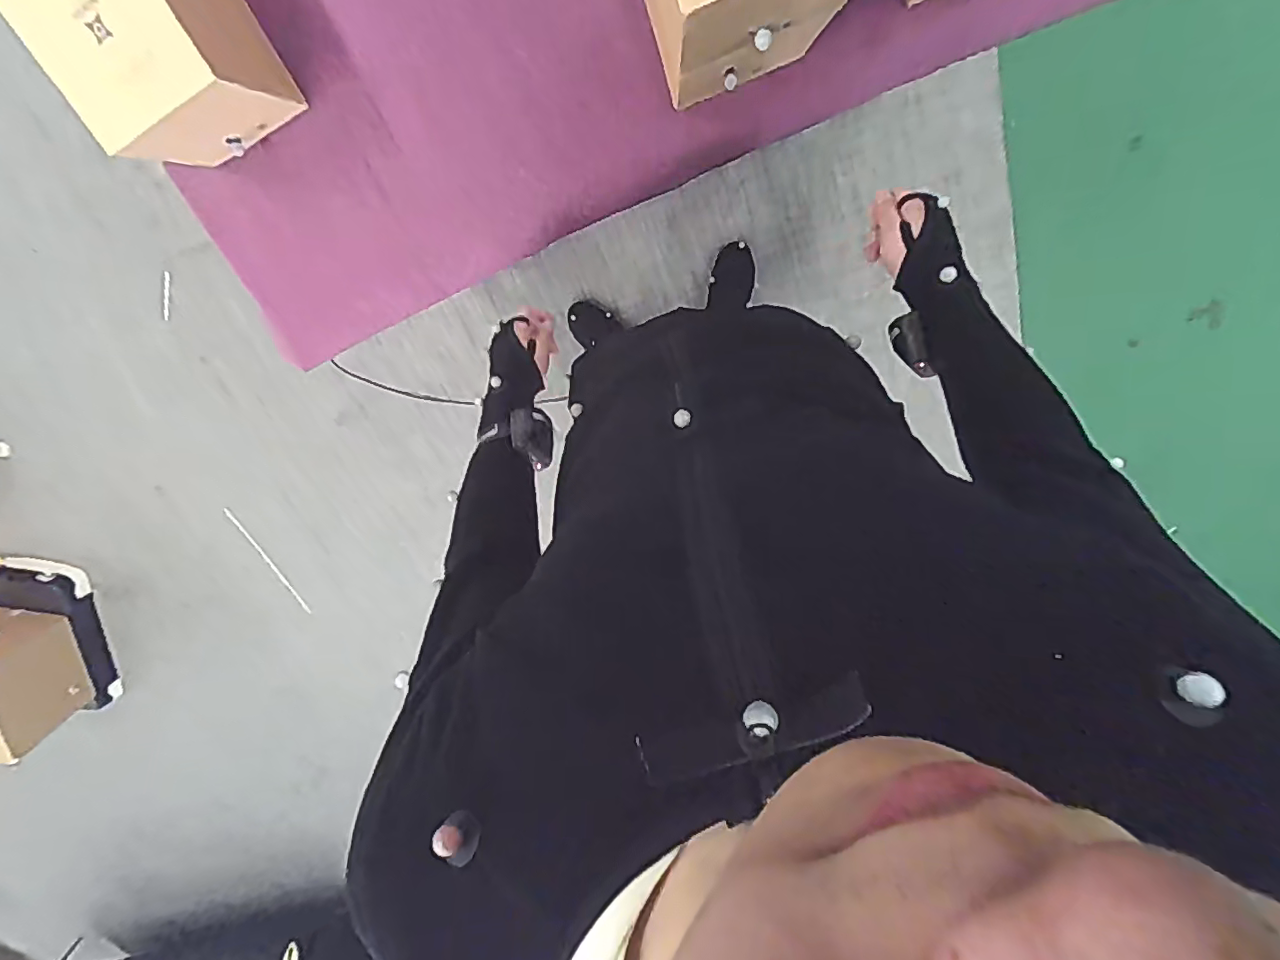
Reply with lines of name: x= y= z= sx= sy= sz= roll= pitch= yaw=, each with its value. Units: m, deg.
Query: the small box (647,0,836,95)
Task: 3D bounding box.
small box: x=0.089 y=-0.535 z=0.563 sx=0.168 sy=0.176 sz=0.179 roll=-17 pitch=112 yaw=11

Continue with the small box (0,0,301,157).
small box: x=-0.544 y=-0.499 z=0.614 sx=0.168 sy=0.176 sz=0.179 roll=-21 pitch=114 yaw=13

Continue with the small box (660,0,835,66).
small box: x=0.080 y=-0.467 z=0.413 sx=0.168 sy=0.176 sz=0.179 roll=-16 pitch=113 yaw=12
